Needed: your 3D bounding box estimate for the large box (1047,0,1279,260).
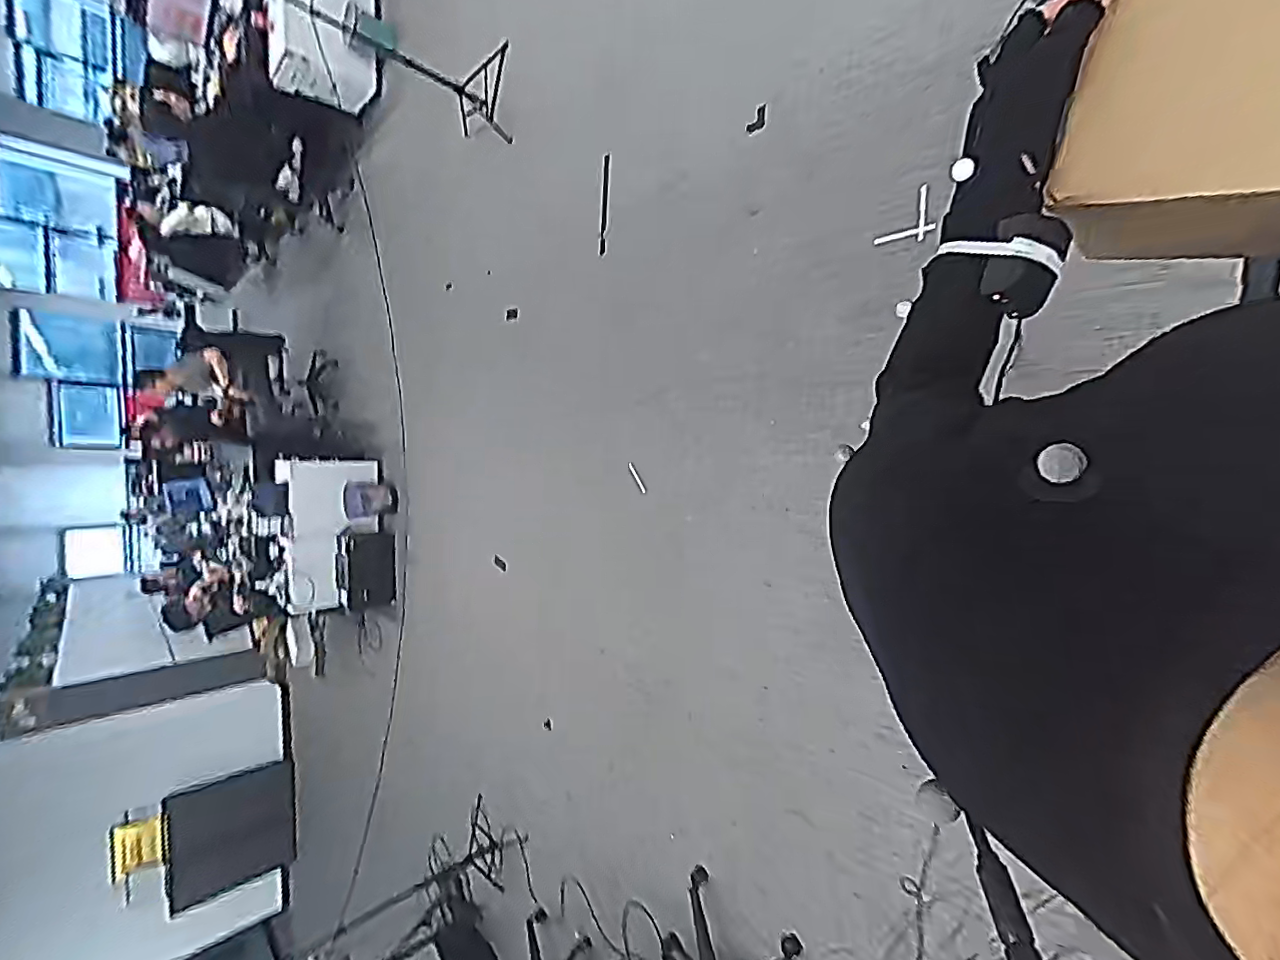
[{"bbox_3d":[0.588,-0.351,0.385,0.408,0.320,0.320,18,111,41],"label":"large box"}]
